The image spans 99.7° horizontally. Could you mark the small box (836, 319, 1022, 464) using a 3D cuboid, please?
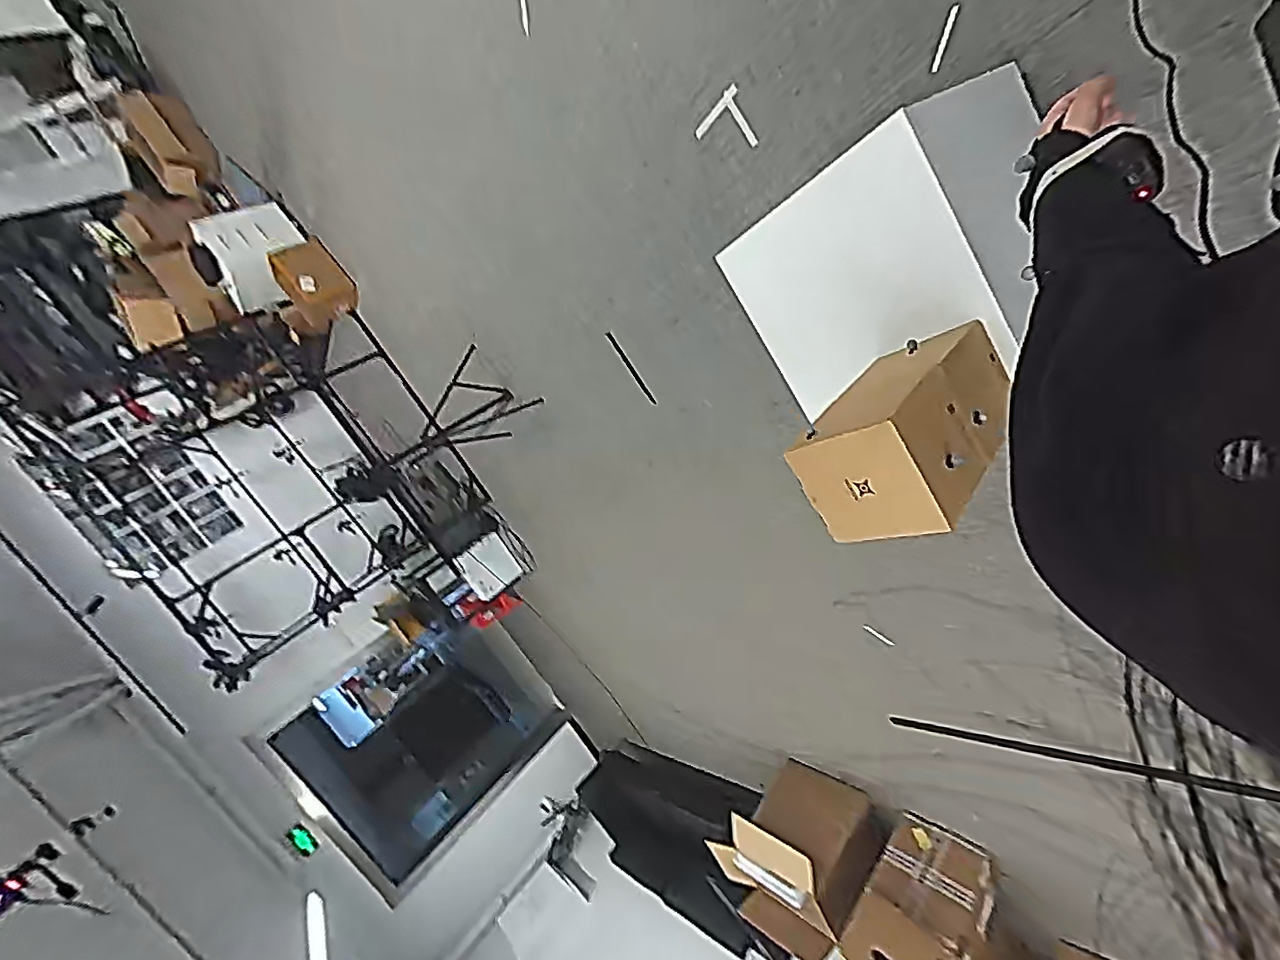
[{"bbox_3d":[0.452,-0.123,0.848,0.168,0.176,0.179,57,148,-10],"label":"small box"}]

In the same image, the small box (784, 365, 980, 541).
[{"bbox_3d":[0.346,-0.035,0.760,0.168,0.176,0.179,56,148,-9],"label":"small box"}]
